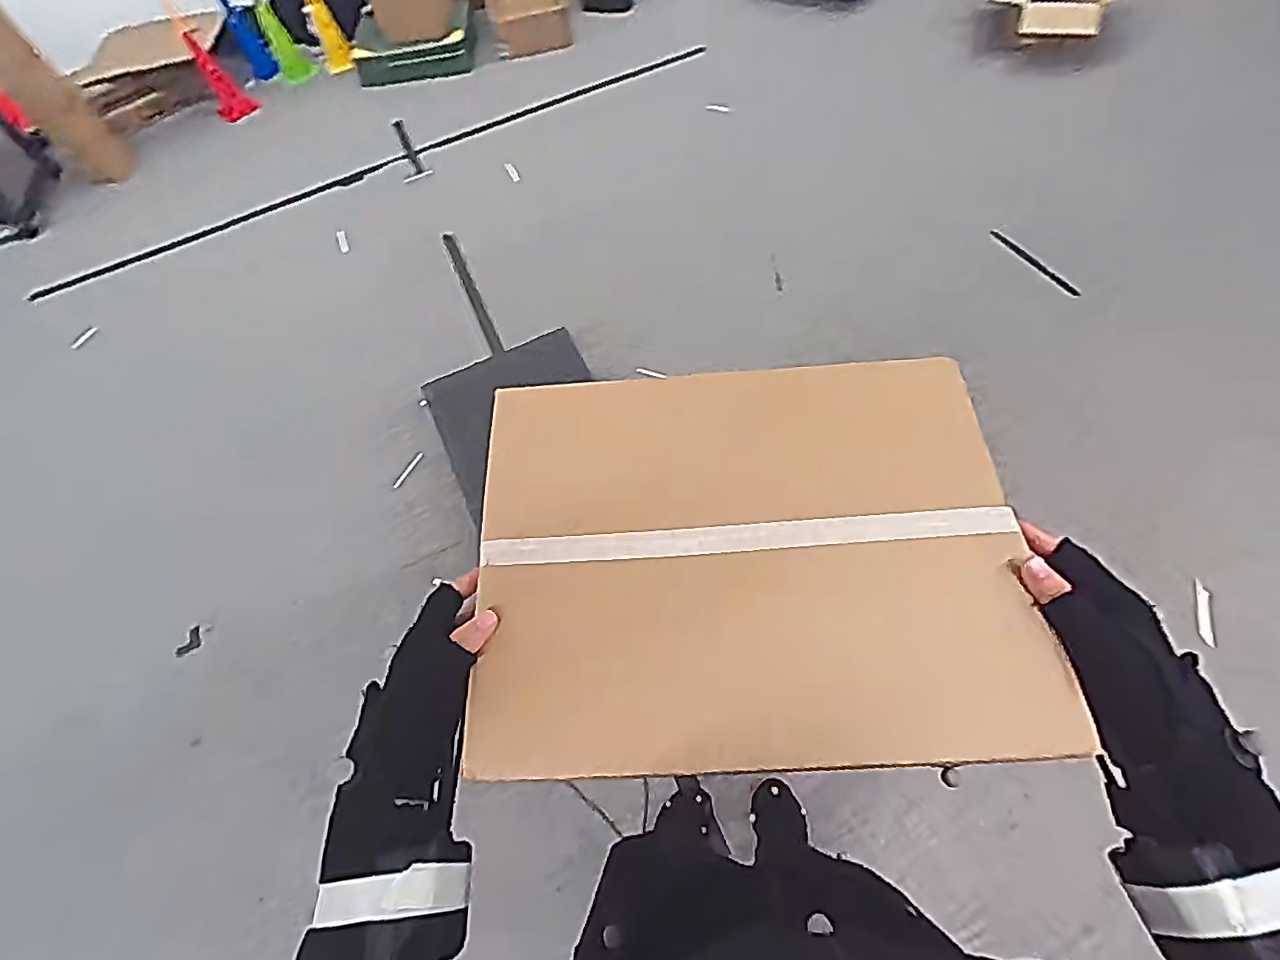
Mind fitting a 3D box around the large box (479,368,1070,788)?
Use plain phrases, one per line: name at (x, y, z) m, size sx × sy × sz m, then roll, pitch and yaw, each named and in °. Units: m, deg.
large box at (0.089, 0.116, 0.557) m, size 0.408 × 0.320 × 0.320 m, roll -4°, pitch 63°, yaw 2°
